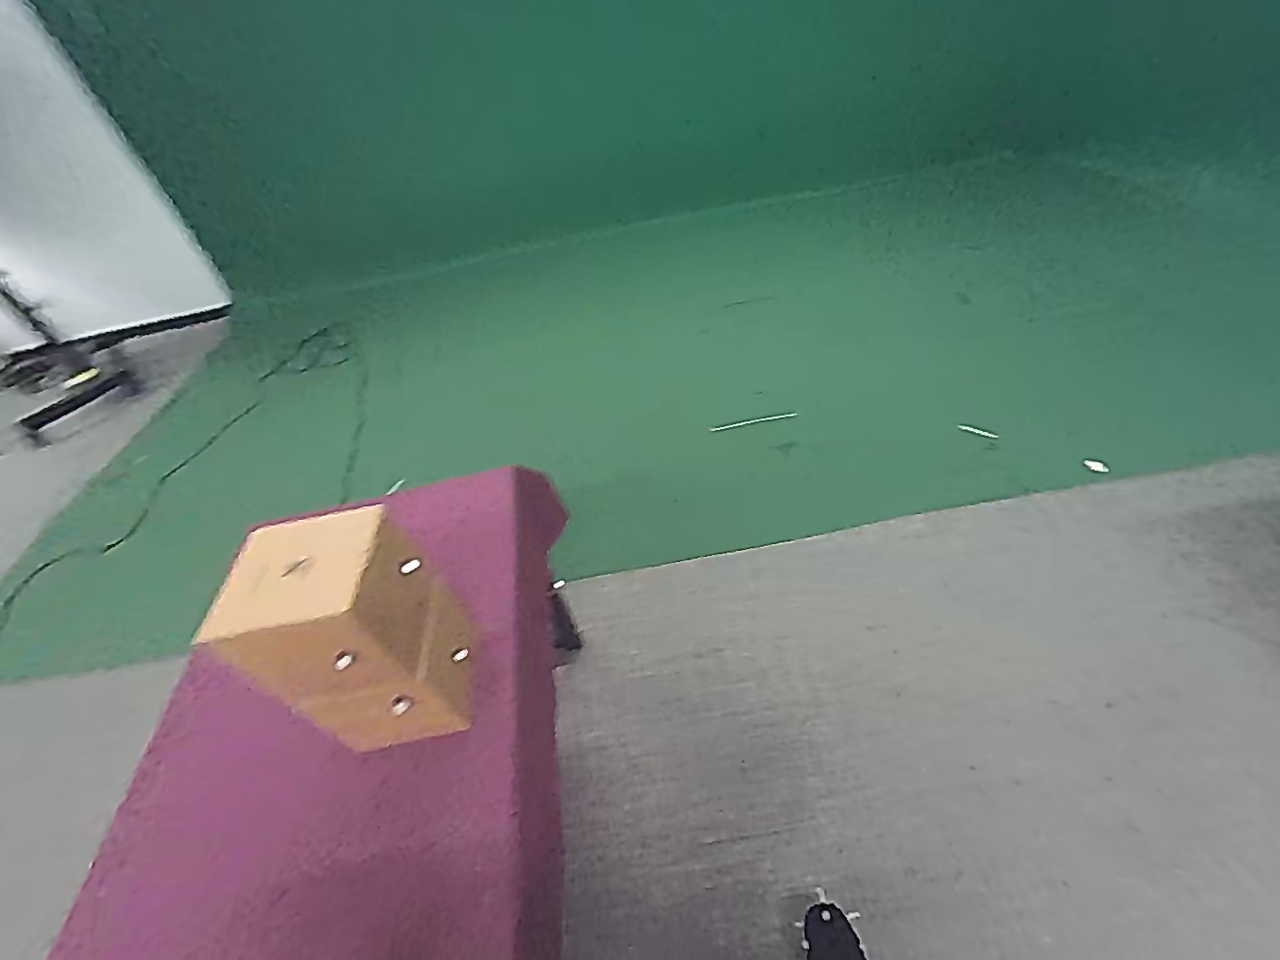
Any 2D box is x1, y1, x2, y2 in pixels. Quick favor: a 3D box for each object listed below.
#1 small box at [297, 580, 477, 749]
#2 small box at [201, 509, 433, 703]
[{"bbox_3d":[-0.361,0.280,0.814,0.179,0.176,0.168,-13,43,1],"label":"small box"},{"bbox_3d":[-0.393,0.165,0.702,0.179,0.176,0.168,-12,43,3],"label":"small box"}]
